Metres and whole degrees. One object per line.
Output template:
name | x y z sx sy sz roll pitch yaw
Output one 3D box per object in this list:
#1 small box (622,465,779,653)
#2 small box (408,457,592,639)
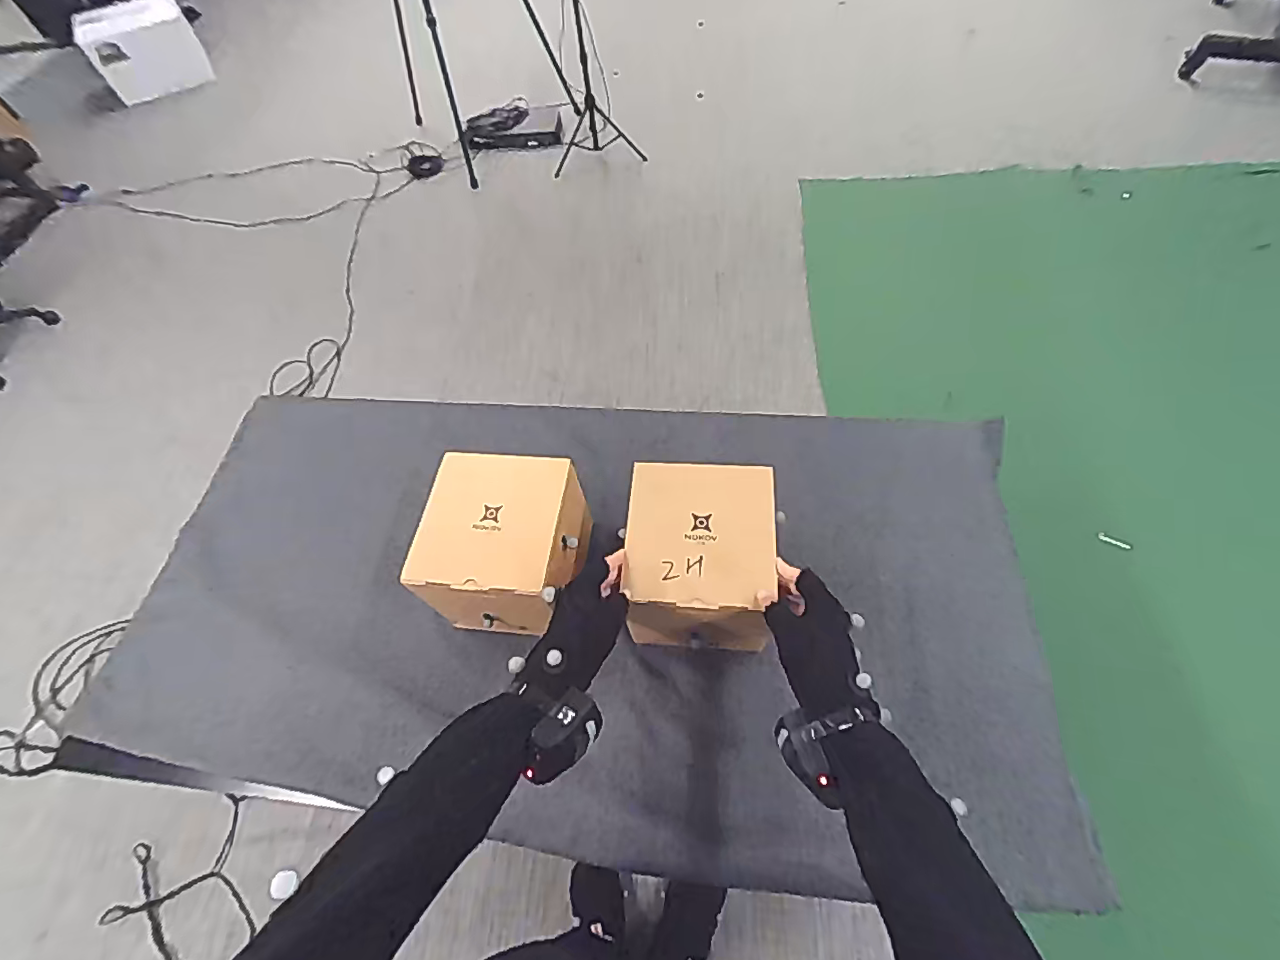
small box | 0.077 0.099 0.667 0.168 0.176 0.179 1 59 8
small box | -0.163 0.090 0.701 0.168 0.176 0.179 2 59 9
